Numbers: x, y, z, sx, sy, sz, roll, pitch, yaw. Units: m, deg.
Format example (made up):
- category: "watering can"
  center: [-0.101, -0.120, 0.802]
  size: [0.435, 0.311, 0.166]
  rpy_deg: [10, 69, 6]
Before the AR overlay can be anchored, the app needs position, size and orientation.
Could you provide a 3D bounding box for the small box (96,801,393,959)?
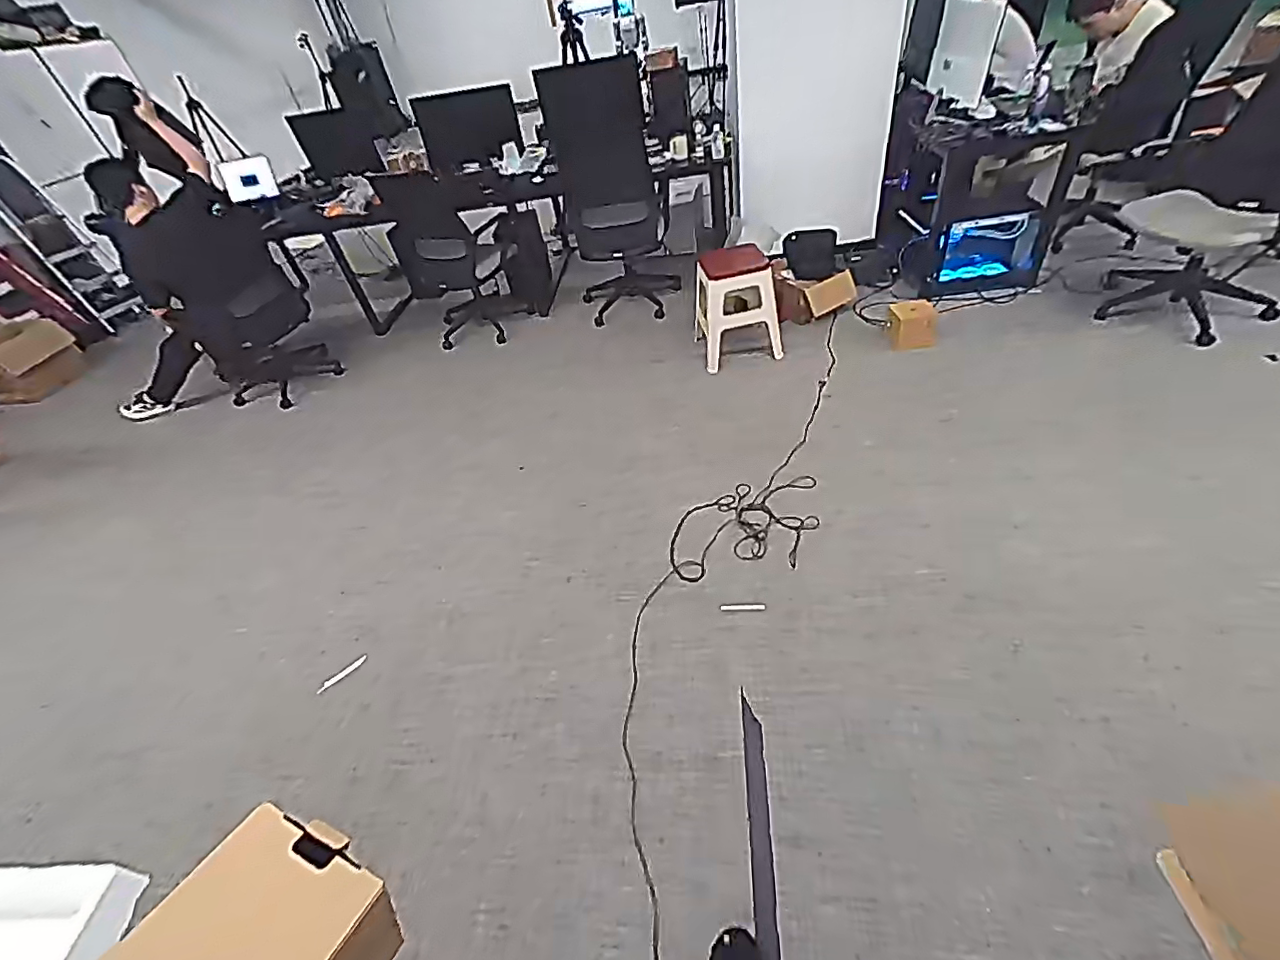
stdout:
- category: "small box"
  center: [-0.362, 0.463, 0.513]
  size: [0.168, 0.176, 0.179]
  rpy_deg: [21, 35, 15]
